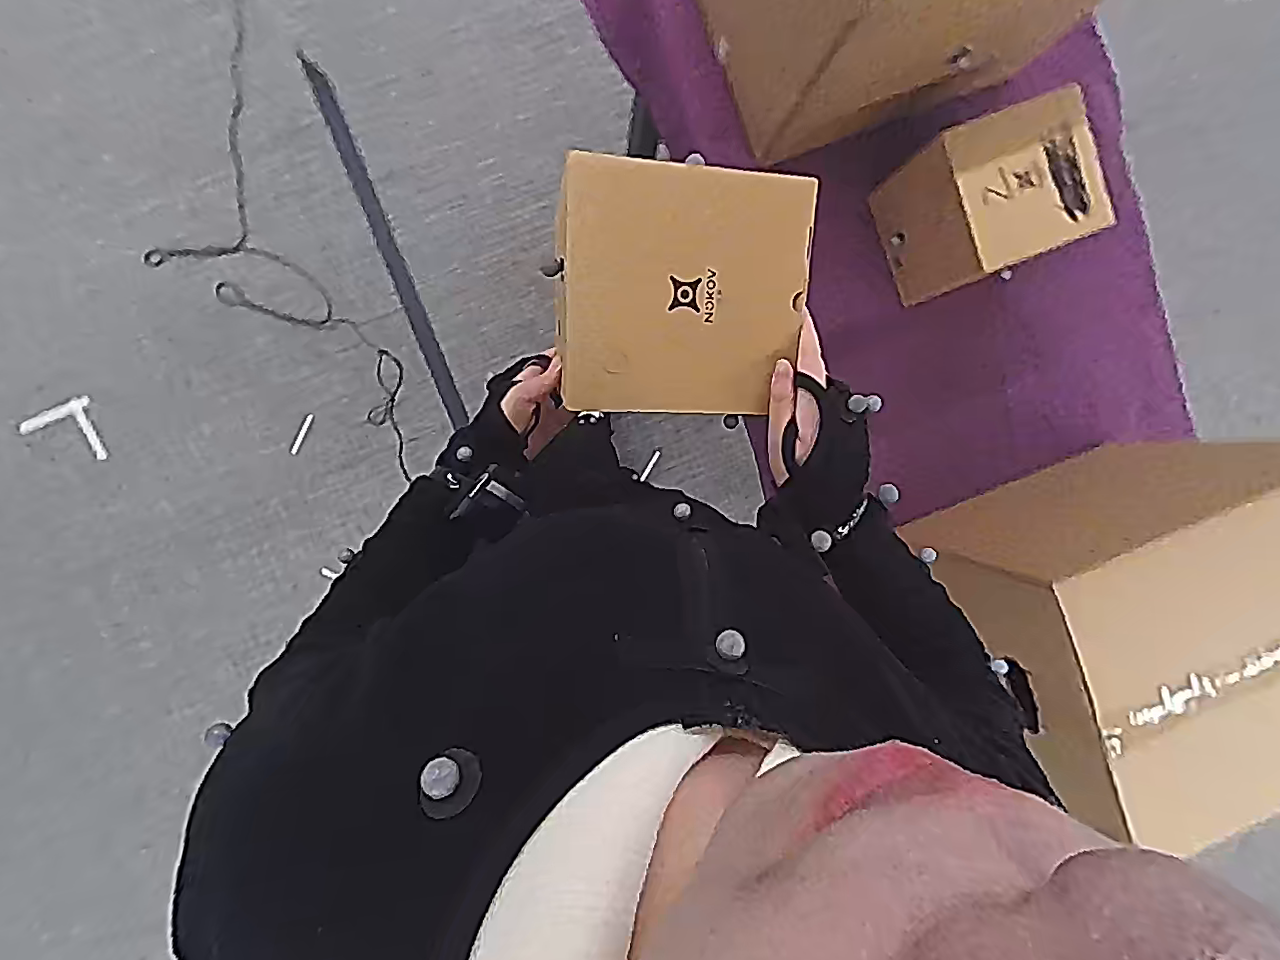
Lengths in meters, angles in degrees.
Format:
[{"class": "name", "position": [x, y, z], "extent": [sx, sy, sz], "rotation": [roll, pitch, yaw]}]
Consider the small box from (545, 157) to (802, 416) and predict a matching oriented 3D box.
[{"class": "small box", "position": [0.010, -0.144, 0.452], "extent": [0.179, 0.176, 0.168], "rotation": [-1, 104, -12]}]
